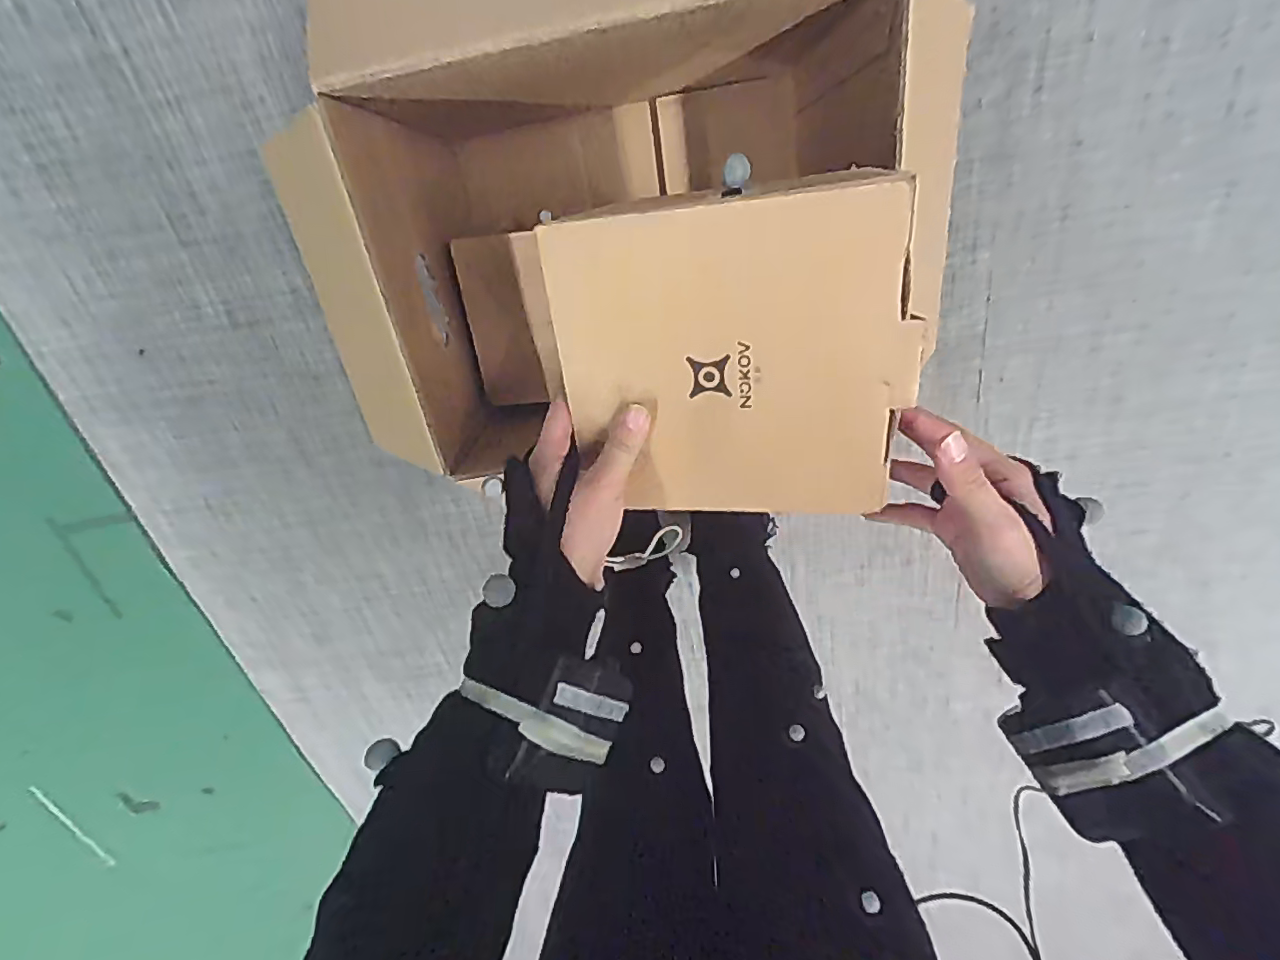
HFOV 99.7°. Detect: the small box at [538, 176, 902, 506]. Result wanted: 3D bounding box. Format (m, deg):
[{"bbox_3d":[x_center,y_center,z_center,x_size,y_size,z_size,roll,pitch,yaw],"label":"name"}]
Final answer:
[{"bbox_3d":[0.058,-0.096,0.359,0.179,0.176,0.168,0,118,15],"label":"small box"}]
